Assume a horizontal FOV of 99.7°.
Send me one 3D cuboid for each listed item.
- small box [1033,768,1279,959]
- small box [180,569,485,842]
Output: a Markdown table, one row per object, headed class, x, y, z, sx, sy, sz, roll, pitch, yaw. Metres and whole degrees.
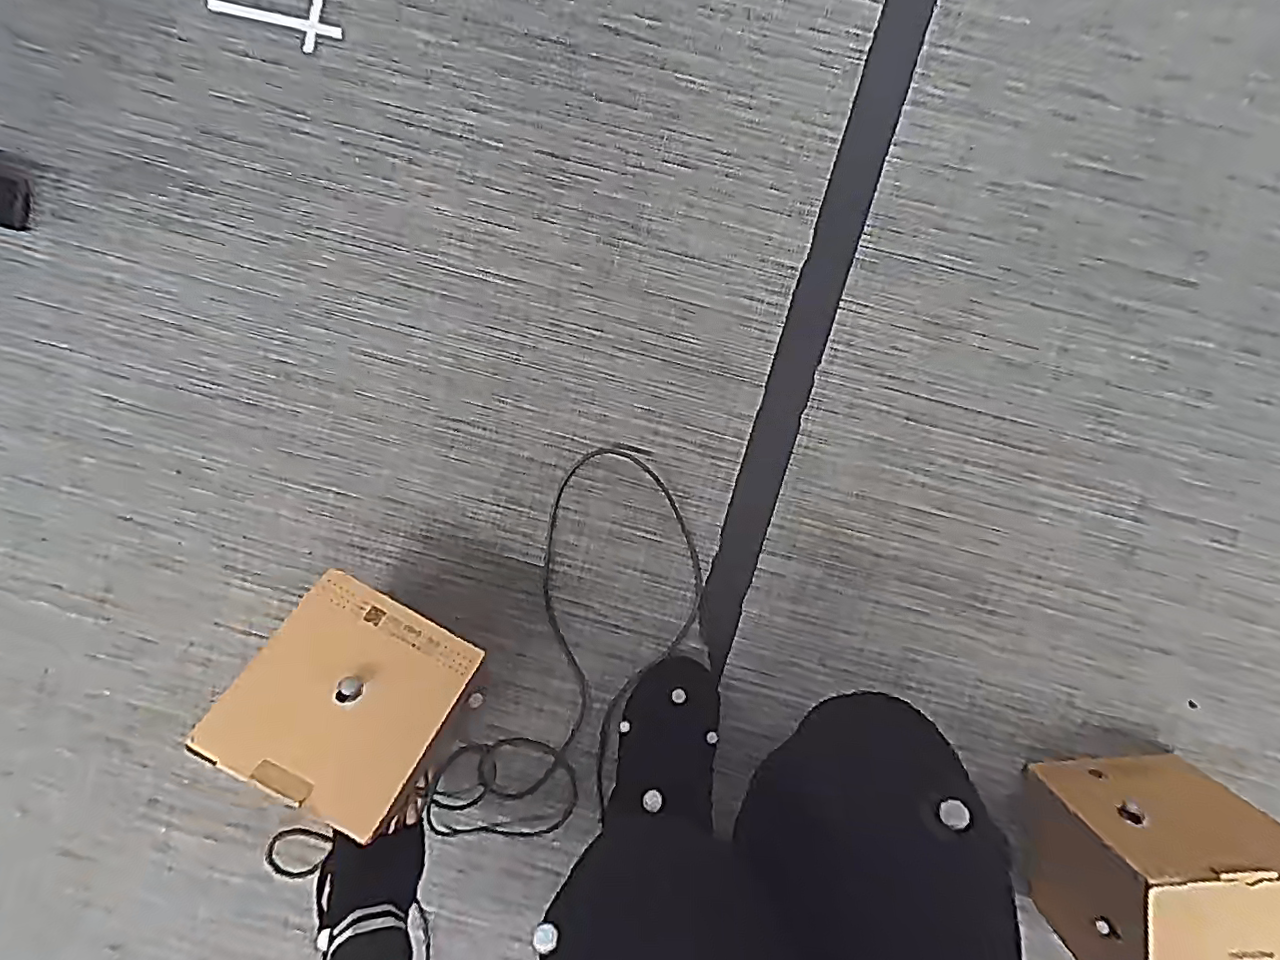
| class | x | y | z | sx | sy | sz | roll | pitch | yaw |
| --- | --- | --- | --- | --- | --- | --- | --- | --- | --- |
| small box | 0.522 | 0.408 | 0.532 | 0.168 | 0.176 | 0.179 | -6 | 96 | 5 |
| small box | -0.266 | 0.208 | 0.521 | 0.168 | 0.179 | 0.176 | 31 | 61 | -1 |
